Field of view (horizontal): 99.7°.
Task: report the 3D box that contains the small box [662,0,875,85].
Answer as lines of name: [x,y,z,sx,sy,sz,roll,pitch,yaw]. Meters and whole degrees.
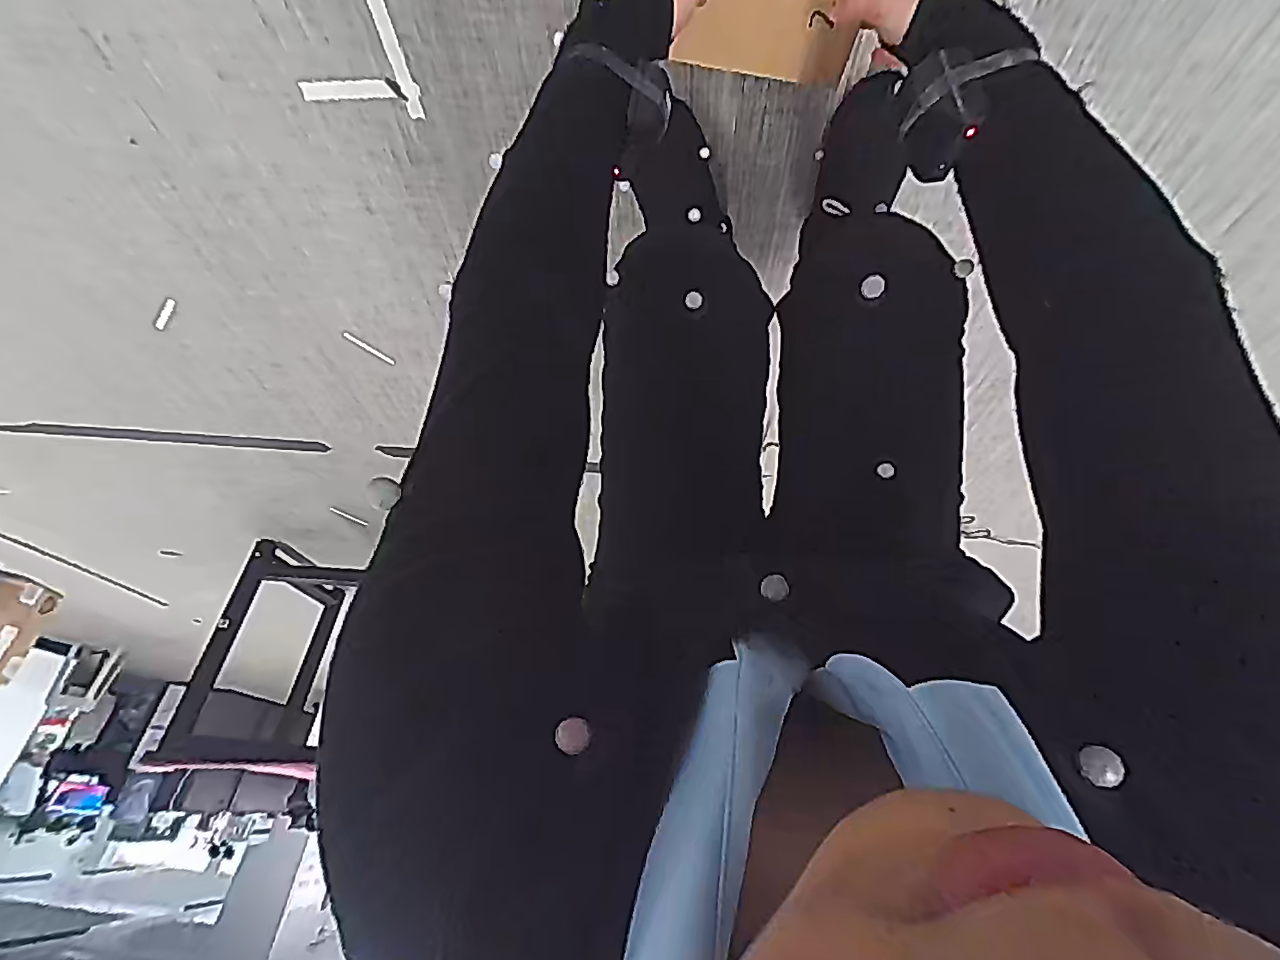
small box: [0.123,-0.495,0.479,0.179,0.176,0.168,8,149,-4]
